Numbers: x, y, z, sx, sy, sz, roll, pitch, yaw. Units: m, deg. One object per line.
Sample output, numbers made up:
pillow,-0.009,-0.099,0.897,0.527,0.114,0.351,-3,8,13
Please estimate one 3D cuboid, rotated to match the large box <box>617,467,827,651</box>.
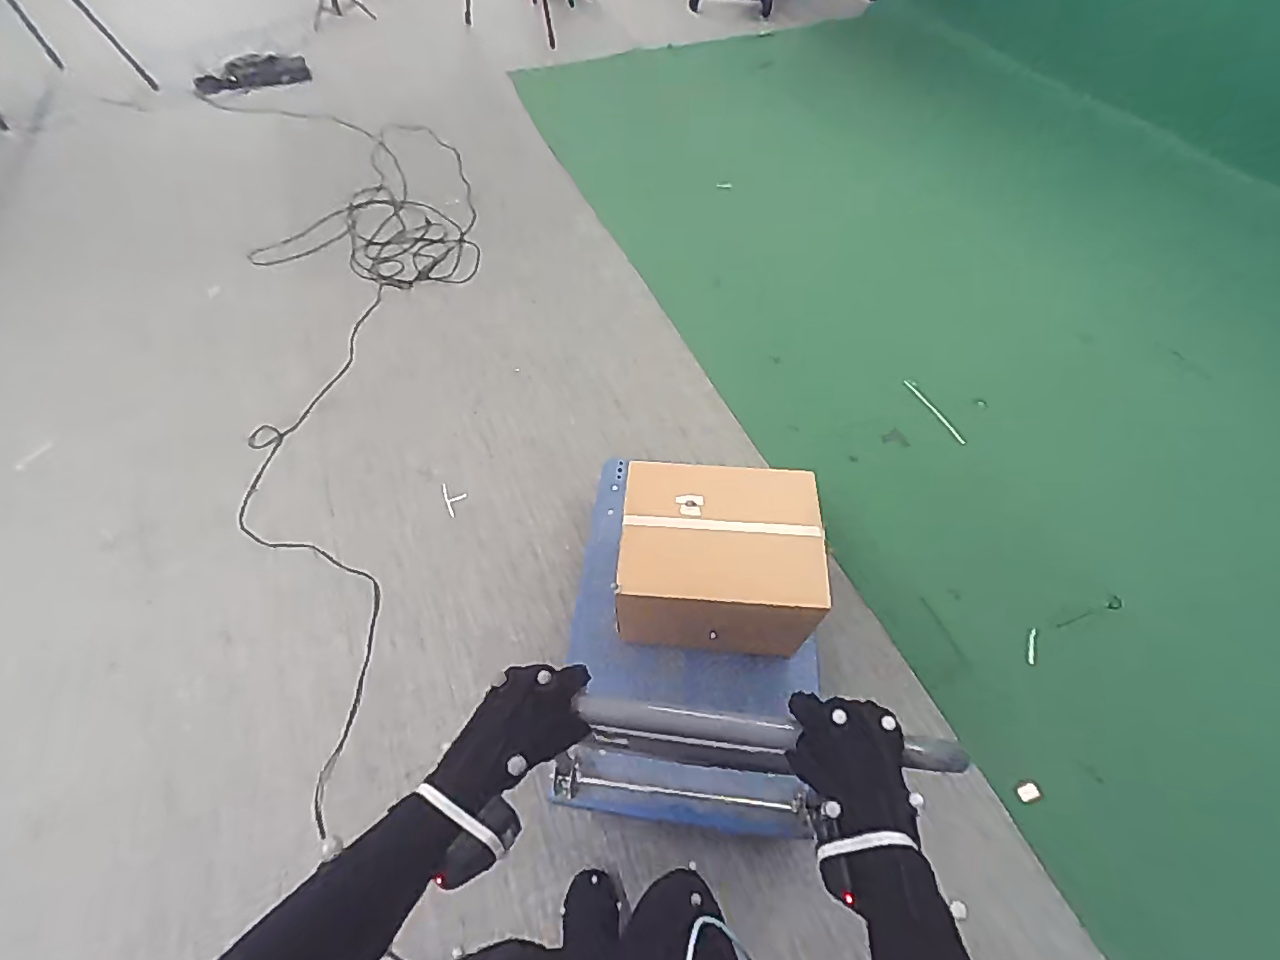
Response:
large box,0.165,0.186,1.225,0.408,0.320,0.320,3,56,3
